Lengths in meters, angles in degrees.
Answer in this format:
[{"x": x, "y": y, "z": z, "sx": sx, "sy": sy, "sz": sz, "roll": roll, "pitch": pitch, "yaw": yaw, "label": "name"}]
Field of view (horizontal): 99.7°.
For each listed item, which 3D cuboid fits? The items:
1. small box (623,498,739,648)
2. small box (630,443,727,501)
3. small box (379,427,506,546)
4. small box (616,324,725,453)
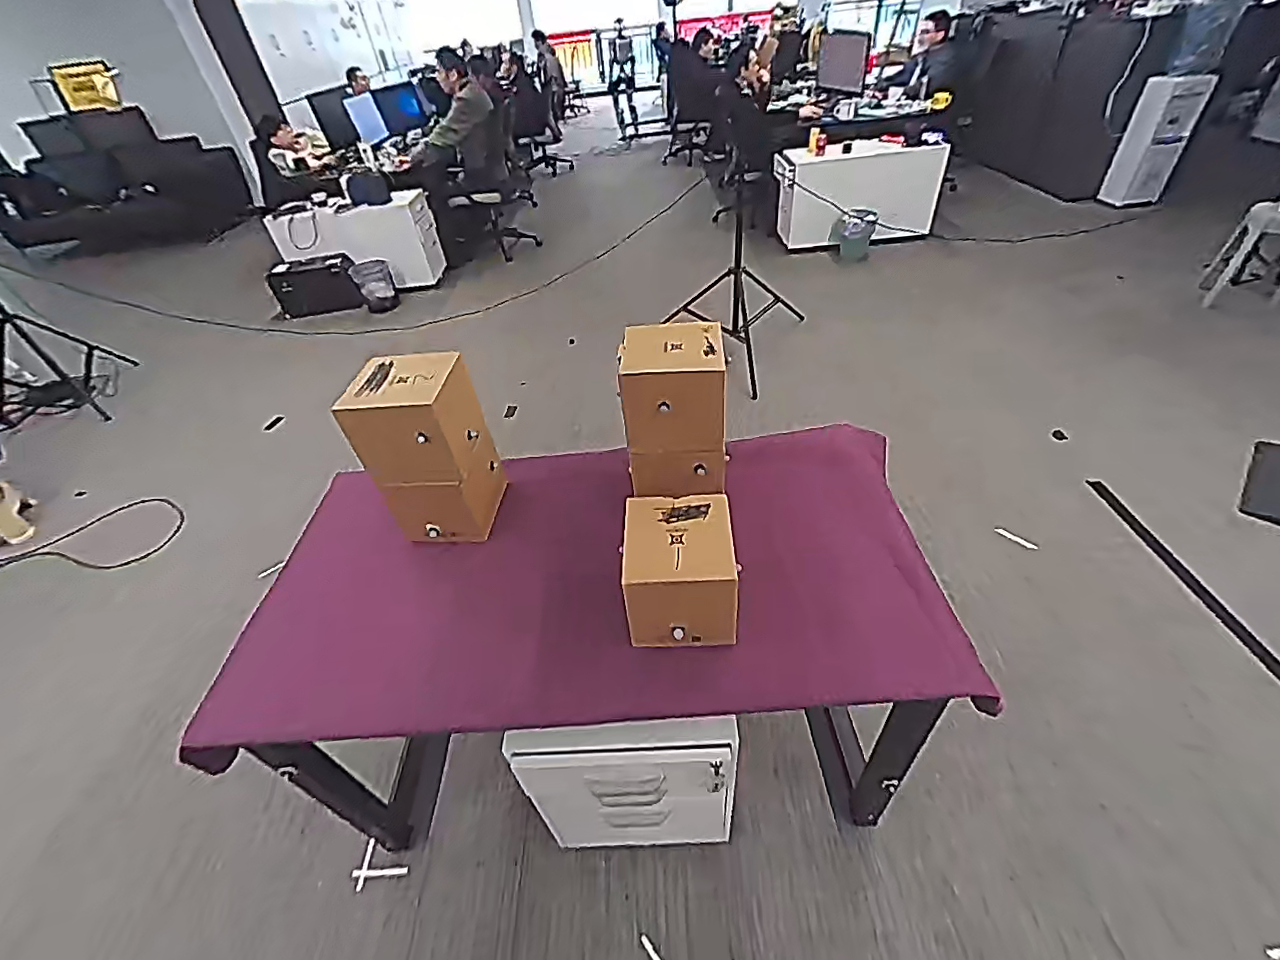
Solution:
[{"x": 0.066, "y": 0.150, "z": 0.872, "sx": 0.168, "sy": 0.176, "sz": 0.179, "roll": -3, "pitch": 41, "yaw": 5, "label": "small box"}, {"x": 0.078, "y": -0.040, "z": 1.083, "sx": 0.179, "sy": 0.176, "sz": 0.168, "roll": -3, "pitch": 42, "yaw": 5, "label": "small box"}, {"x": -0.384, "y": 0.014, "z": 1.090, "sx": 0.168, "sy": 0.176, "sz": 0.179, "roll": -2, "pitch": 44, "yaw": 7, "label": "small box"}, {"x": 0.061, "y": -0.162, "z": 0.975, "sx": 0.179, "sy": 0.176, "sz": 0.168, "roll": -2, "pitch": 43, "yaw": 7, "label": "small box"}]
